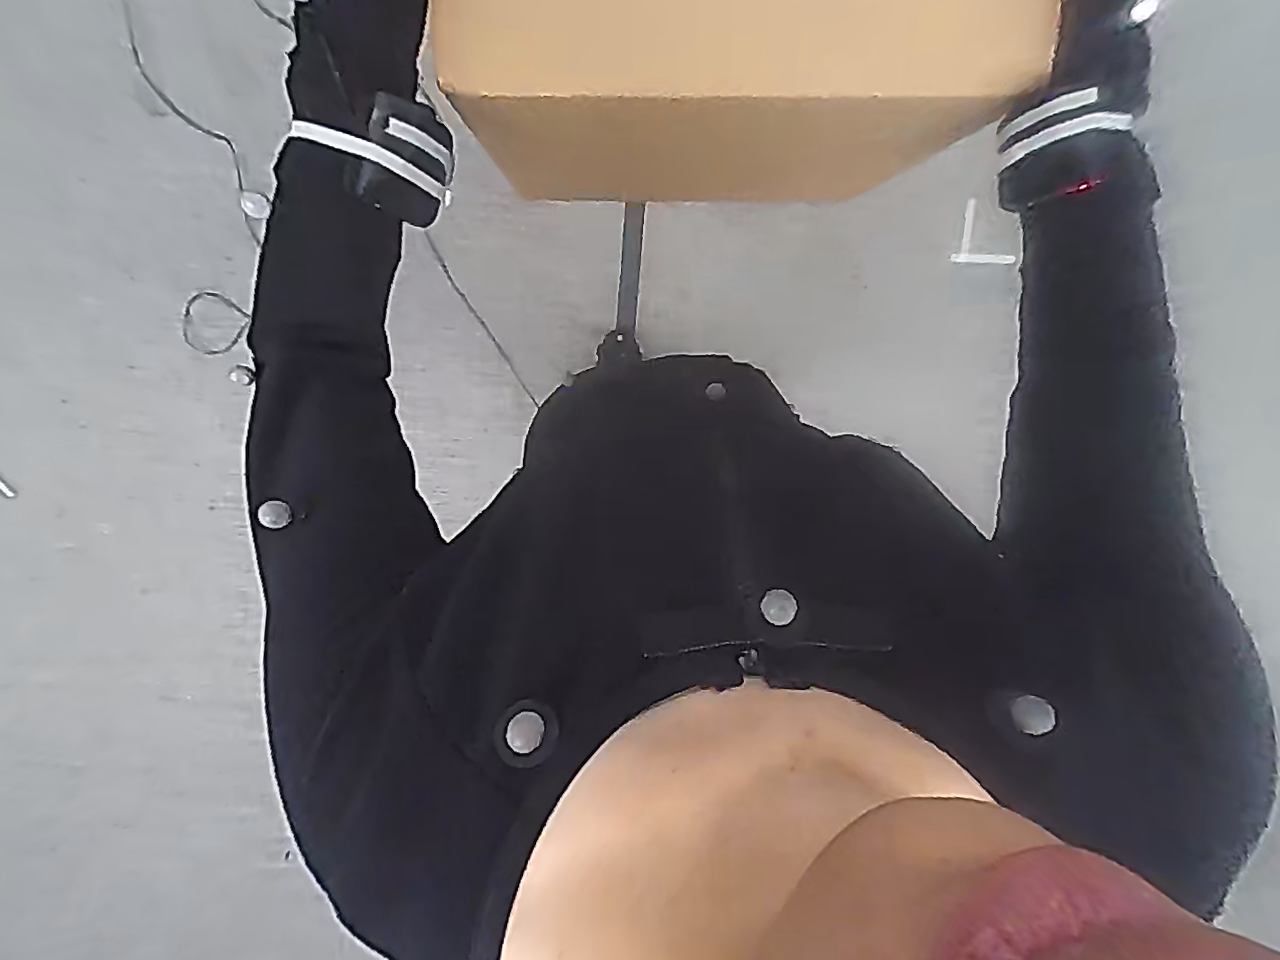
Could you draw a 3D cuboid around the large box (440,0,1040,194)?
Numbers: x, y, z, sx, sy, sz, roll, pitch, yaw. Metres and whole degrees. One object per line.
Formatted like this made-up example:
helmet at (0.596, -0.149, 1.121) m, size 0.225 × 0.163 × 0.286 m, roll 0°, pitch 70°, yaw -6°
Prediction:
large box at (0.059, -0.456, 0.467) m, size 0.408 × 0.320 × 0.320 m, roll -1°, pitch 106°, yaw -2°
